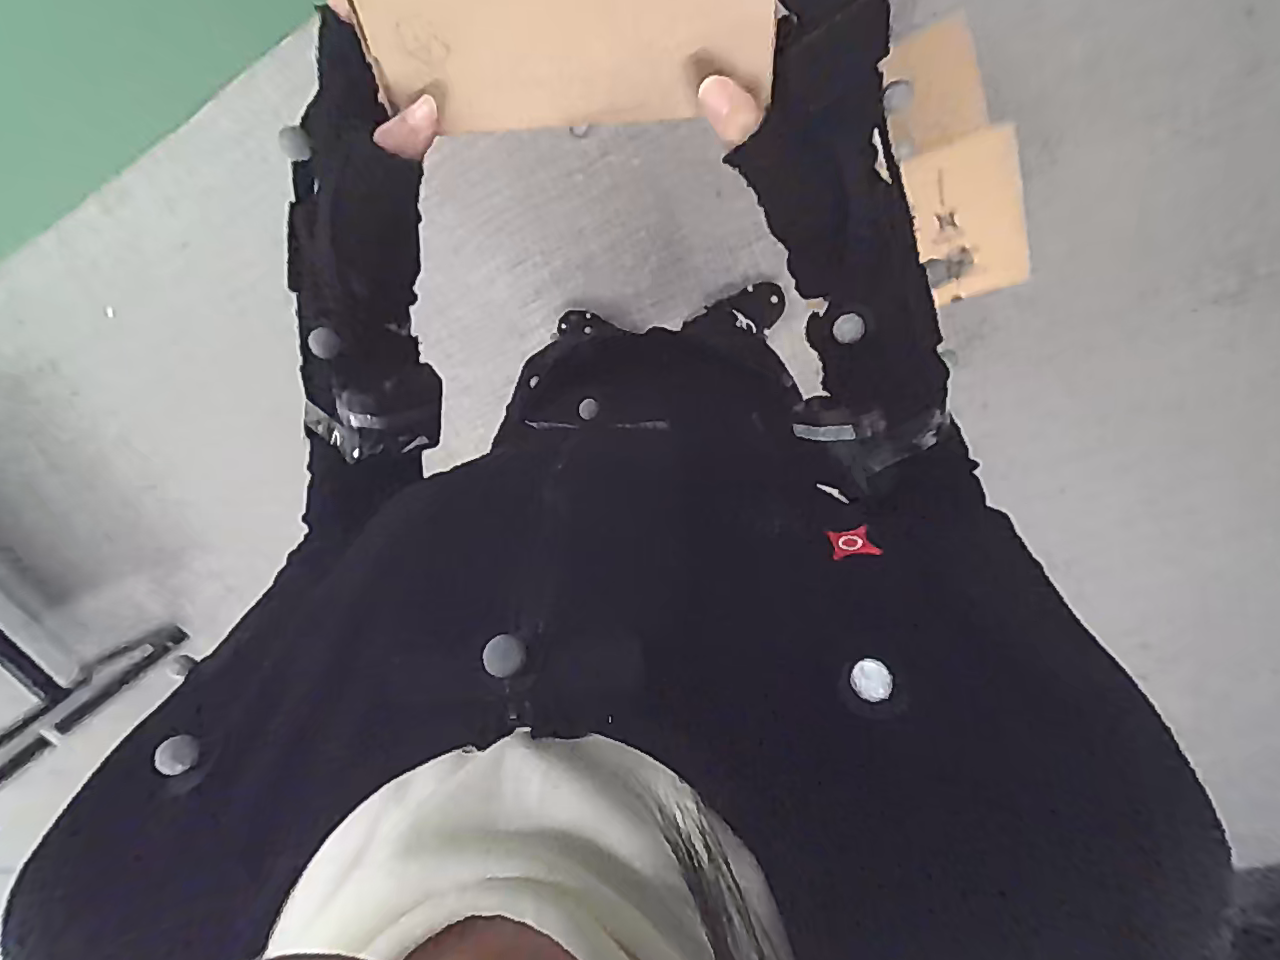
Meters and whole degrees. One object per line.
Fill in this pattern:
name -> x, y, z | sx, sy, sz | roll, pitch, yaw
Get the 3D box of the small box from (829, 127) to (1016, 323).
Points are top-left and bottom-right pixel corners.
small box -> 0.362, -0.328, 0.713 | 0.168, 0.176, 0.179 | -15, 111, 13
